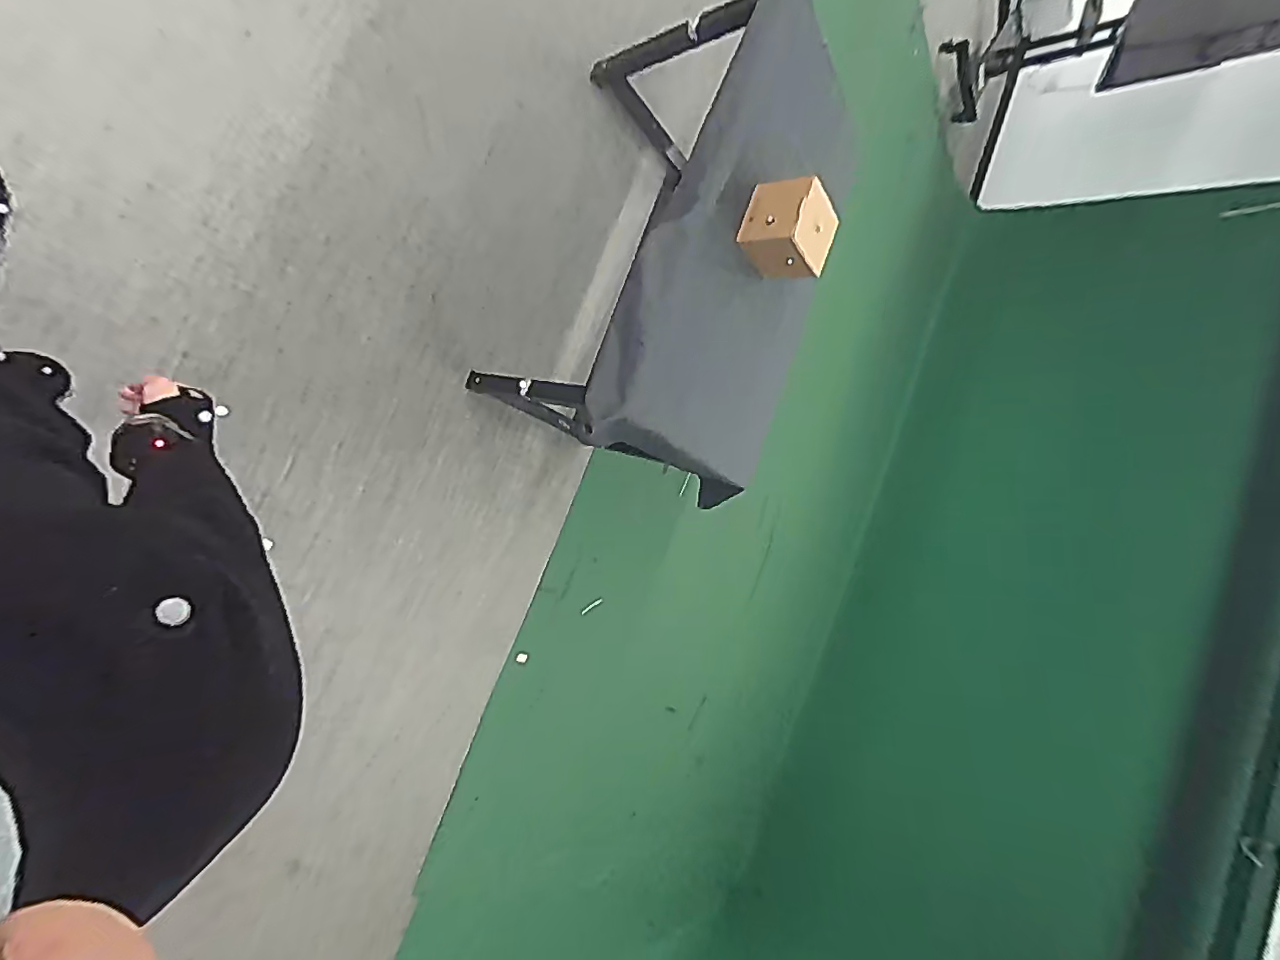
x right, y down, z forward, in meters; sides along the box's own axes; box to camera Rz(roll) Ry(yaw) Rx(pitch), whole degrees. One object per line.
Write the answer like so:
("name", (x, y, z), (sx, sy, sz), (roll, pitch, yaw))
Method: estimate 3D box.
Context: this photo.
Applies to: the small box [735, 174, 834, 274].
("small box", (0.372, -0.651, 1.399), (0.179, 0.176, 0.168), (26, 85, -50))
